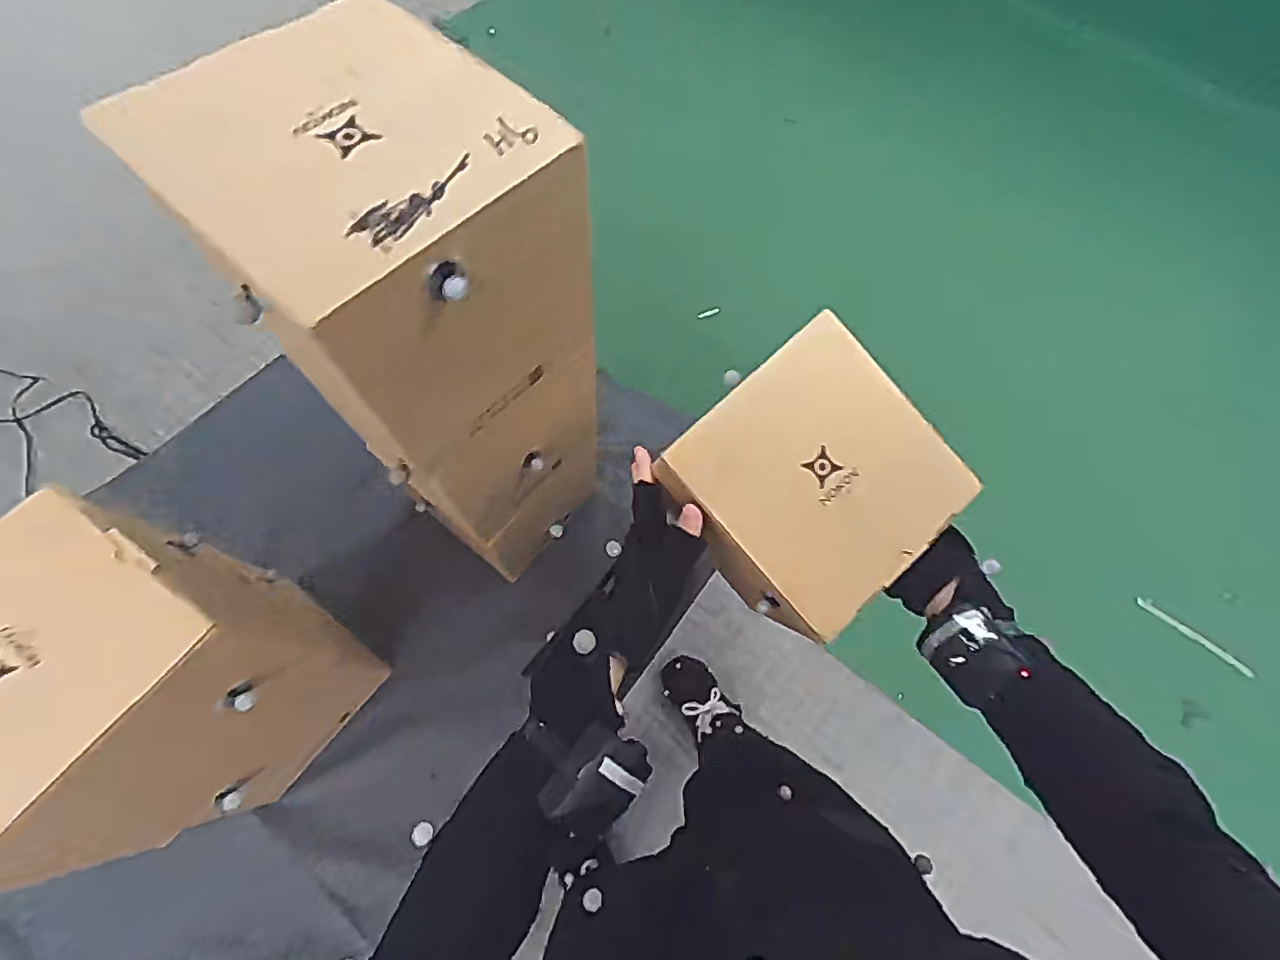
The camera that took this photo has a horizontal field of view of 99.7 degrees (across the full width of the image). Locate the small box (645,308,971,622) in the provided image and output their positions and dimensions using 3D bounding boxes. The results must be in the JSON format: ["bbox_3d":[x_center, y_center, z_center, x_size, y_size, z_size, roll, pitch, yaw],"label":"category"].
[{"bbox_3d":[0.122,-0.006,0.469,0.168,0.176,0.179,-42,91,-8],"label":"small box"}]

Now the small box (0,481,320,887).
[{"bbox_3d":[-0.372,0.138,0.390,0.168,0.176,0.179,34,69,11],"label":"small box"}]

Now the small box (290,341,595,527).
[{"bbox_3d":[-0.155,-0.076,0.494,0.179,0.176,0.168,38,70,12],"label":"small box"}]

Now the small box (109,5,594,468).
[{"bbox_3d":[-0.146,-0.138,0.341,0.179,0.176,0.168,40,71,13],"label":"small box"}]
